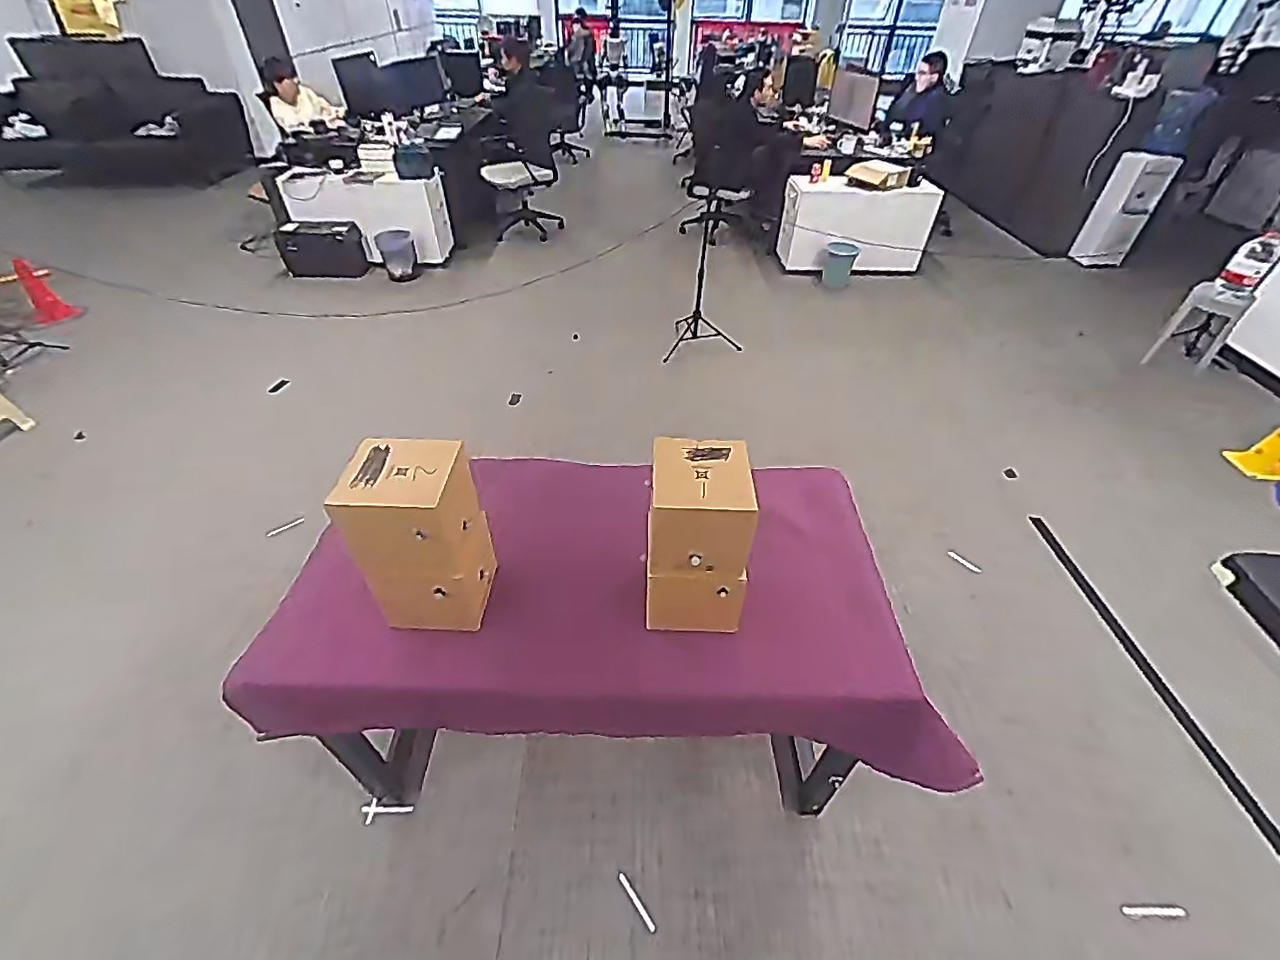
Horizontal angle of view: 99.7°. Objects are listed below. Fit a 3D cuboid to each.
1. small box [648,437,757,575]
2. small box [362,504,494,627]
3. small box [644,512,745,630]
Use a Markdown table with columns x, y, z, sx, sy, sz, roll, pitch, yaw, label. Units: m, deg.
| x | y | z | sx | sy | sz | roll | pitch | yaw | label |
| --- | --- | --- | --- | --- | --- | --- | --- | --- | --- |
| 0.101 | 0.045 | 0.946 | 0.168 | 0.176 | 0.179 | 2 | 43 | 1 | small box |
| -0.390 | 0.166 | 1.038 | 0.179 | 0.176 | 0.168 | 3 | 42 | 1 | small box |
| 0.098 | 0.175 | 1.049 | 0.179 | 0.176 | 0.168 | 2 | 42 | 0 | small box |
